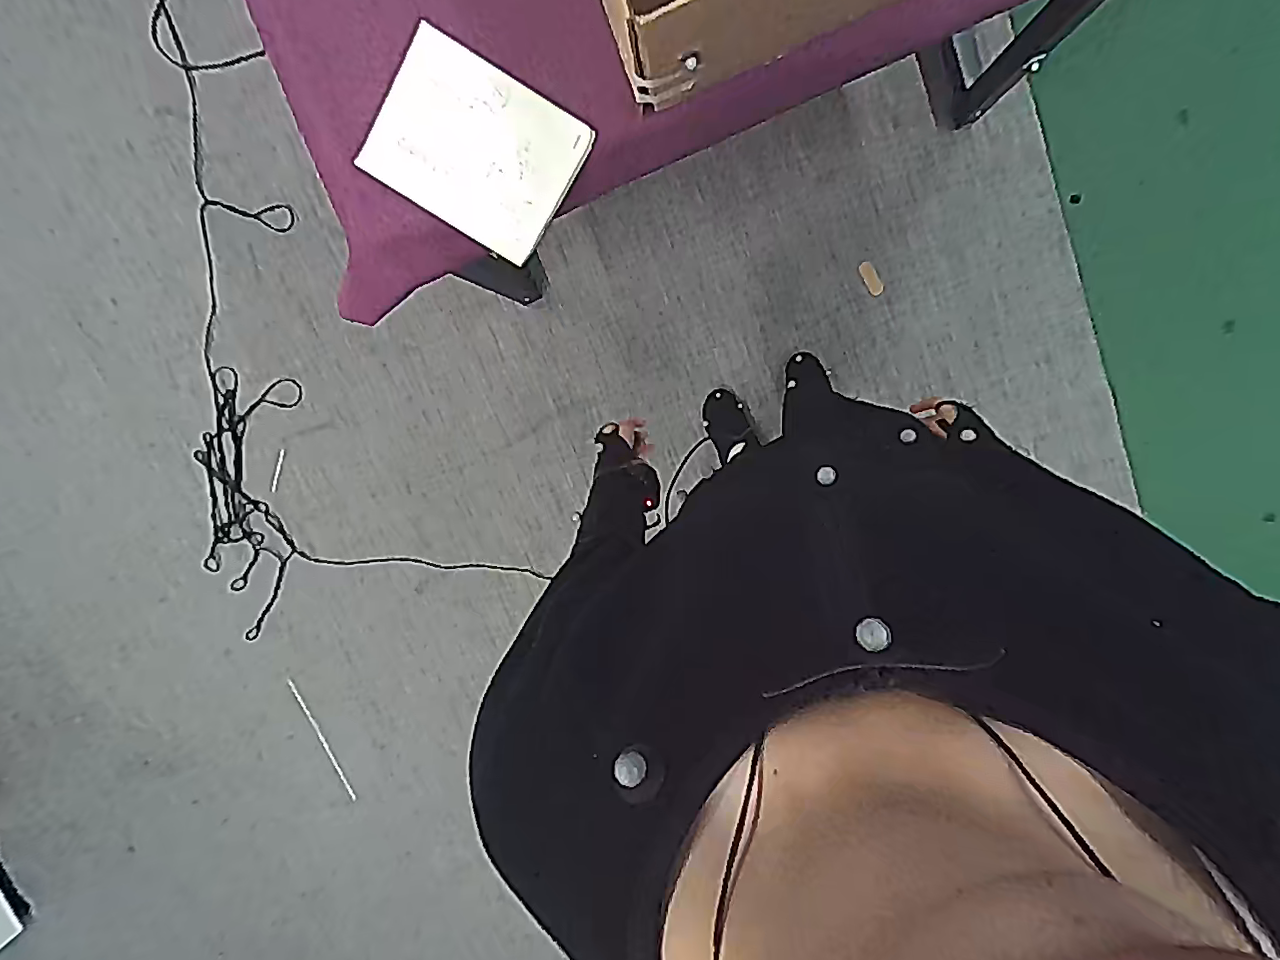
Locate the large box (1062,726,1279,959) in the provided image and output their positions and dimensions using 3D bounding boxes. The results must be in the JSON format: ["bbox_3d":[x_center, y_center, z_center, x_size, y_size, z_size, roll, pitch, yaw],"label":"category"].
[{"bbox_3d":[1.432,0.925,1.380,0.408,0.320,0.320,-35,96,9],"label":"large box"}]

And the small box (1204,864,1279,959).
[{"bbox_3d":[1.369,0.957,1.139,0.168,0.176,0.179,-29,95,11],"label":"small box"}]
